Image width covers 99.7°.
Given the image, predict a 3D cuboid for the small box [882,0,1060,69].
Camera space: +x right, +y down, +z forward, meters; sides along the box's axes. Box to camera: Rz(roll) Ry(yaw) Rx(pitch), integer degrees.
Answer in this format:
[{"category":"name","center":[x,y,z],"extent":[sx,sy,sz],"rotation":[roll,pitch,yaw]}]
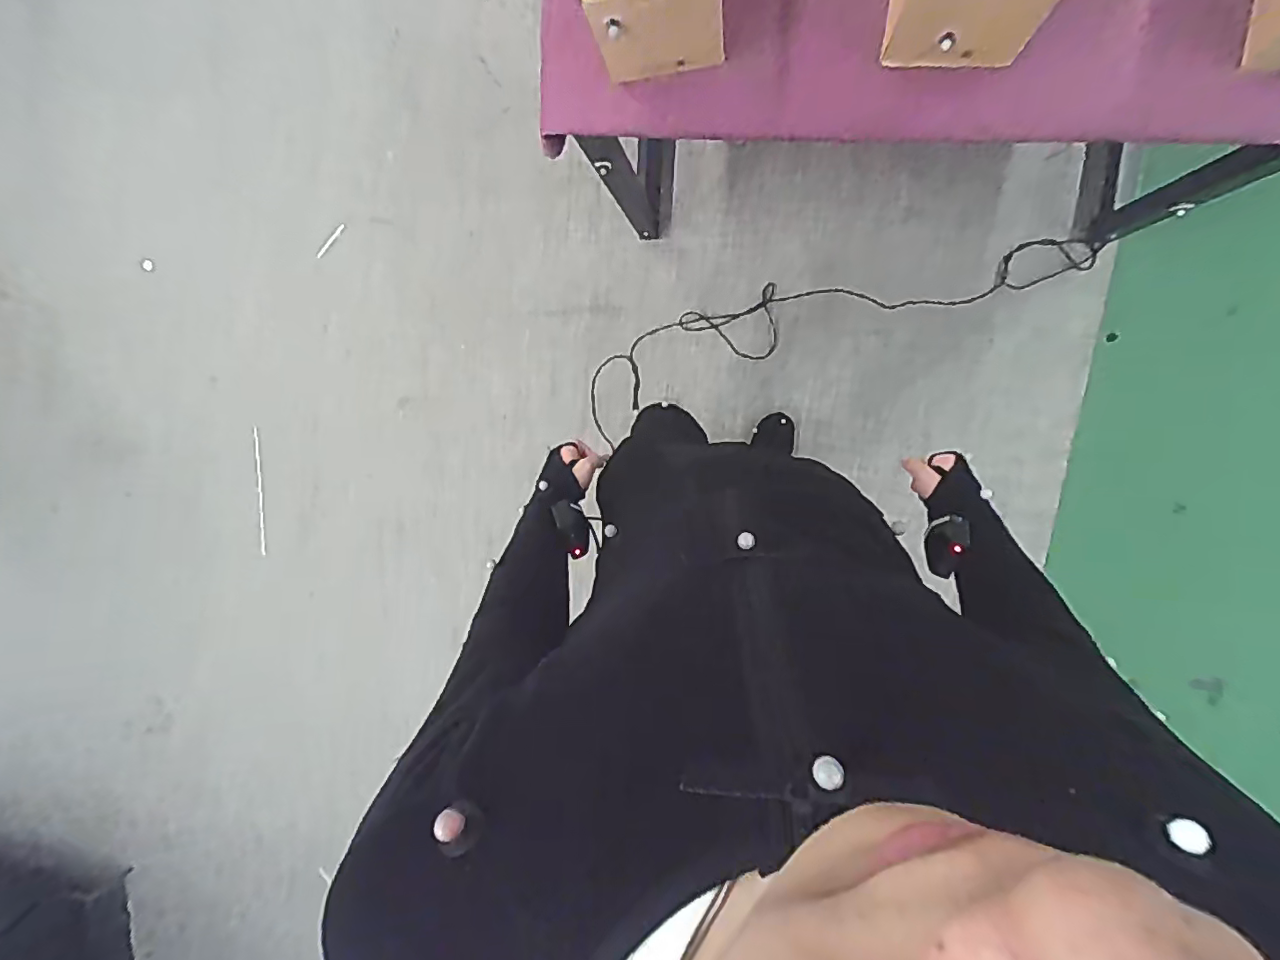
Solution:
[{"category":"small box","center":[0.404,-0.634,0.640],"extent":[0.168,0.176,0.179],"rotation":[8,101,8]}]
